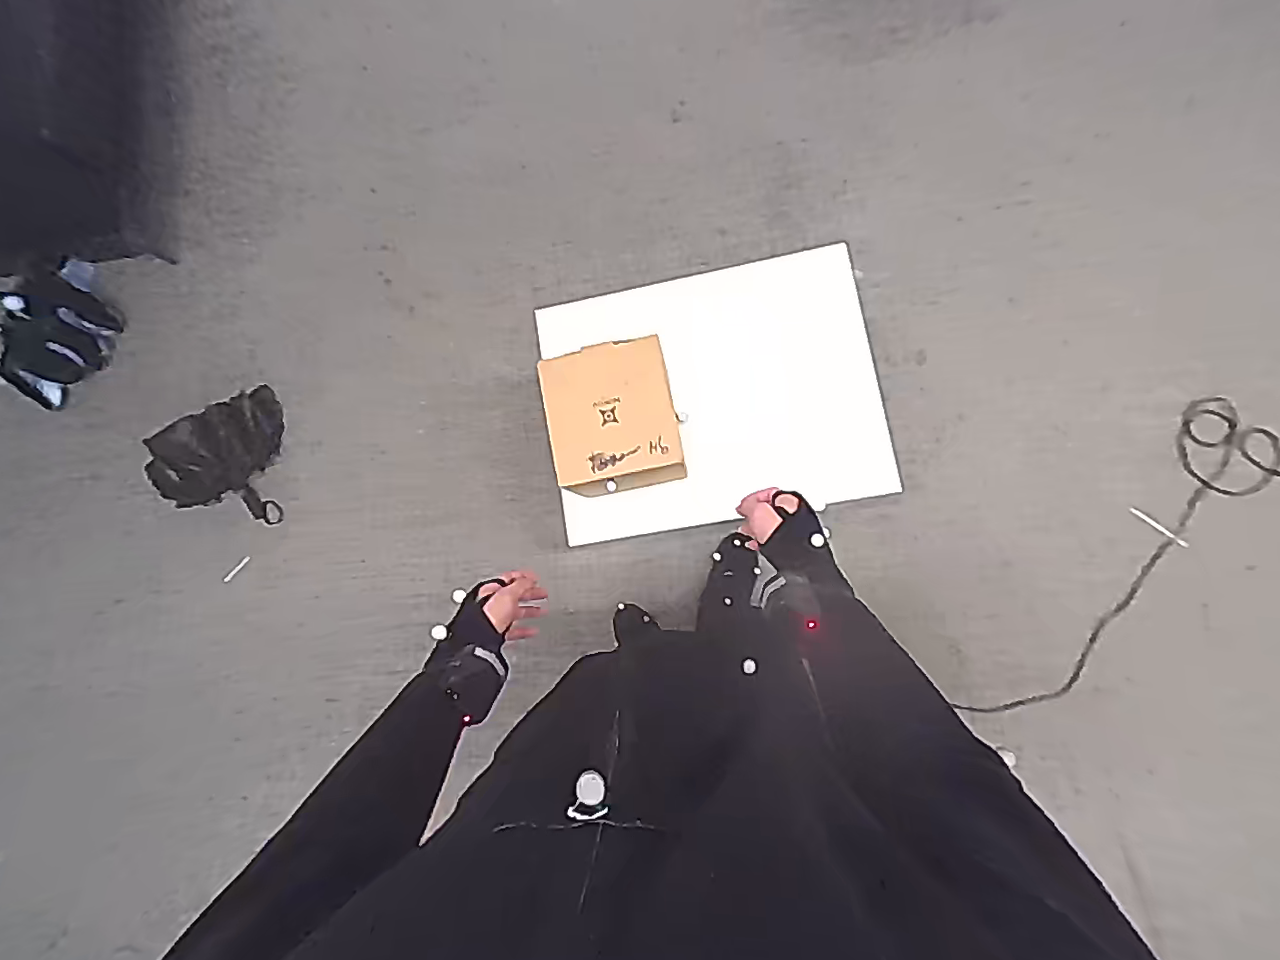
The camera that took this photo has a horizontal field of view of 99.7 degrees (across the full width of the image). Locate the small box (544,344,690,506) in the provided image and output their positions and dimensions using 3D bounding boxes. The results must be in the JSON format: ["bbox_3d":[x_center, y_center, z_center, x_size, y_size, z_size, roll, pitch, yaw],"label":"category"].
[{"bbox_3d":[-0.025,-0.068,0.776,0.168,0.176,0.179,-12,81,7],"label":"small box"}]
